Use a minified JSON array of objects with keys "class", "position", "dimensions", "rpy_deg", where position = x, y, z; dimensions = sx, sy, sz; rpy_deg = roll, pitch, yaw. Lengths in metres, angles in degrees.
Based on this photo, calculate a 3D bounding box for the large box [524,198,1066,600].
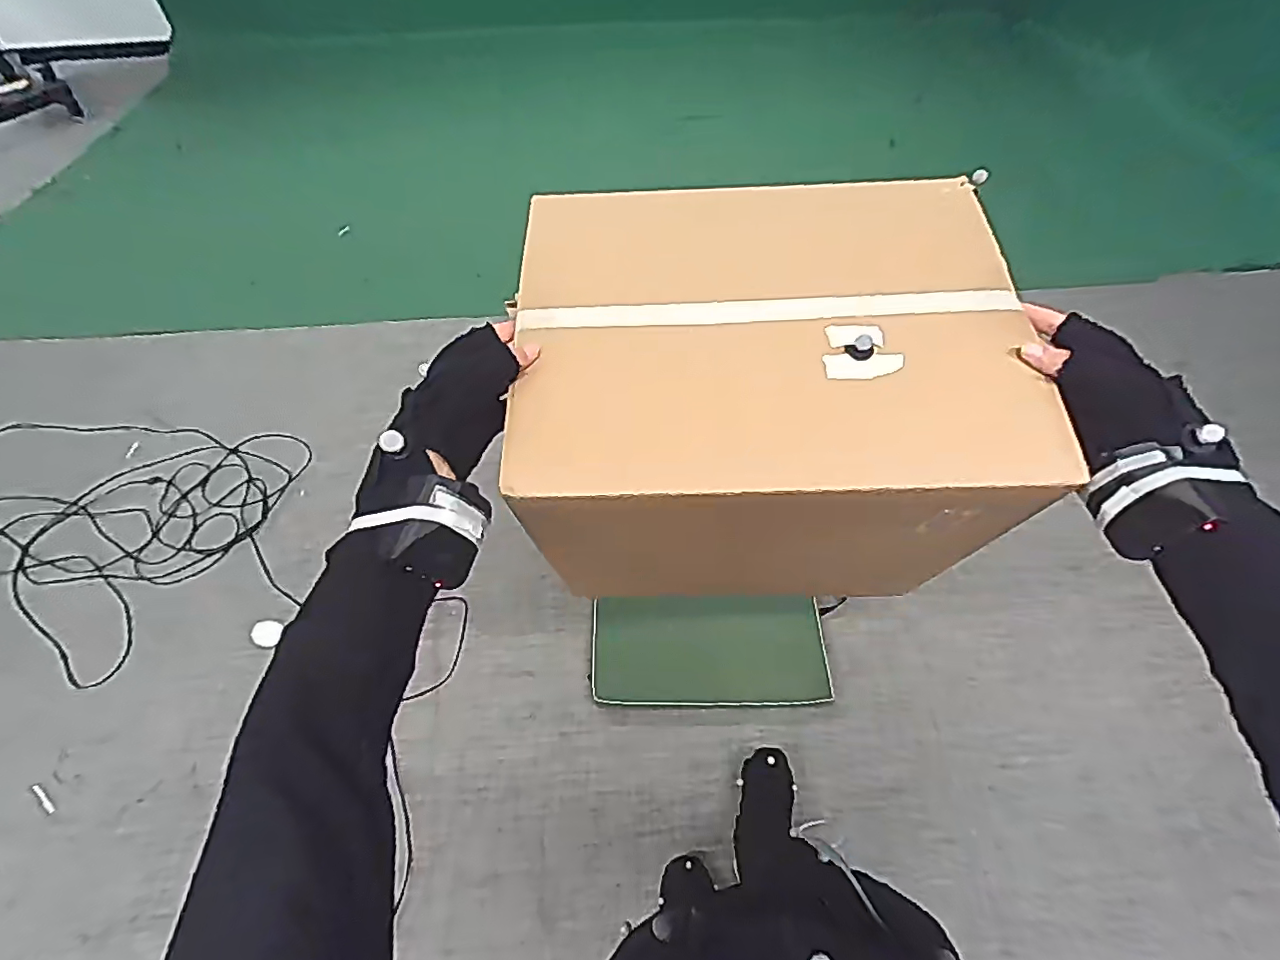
[{"class":"large box","position":[0.110,-0.063,0.589],"dimensions":[0.408,0.320,0.320],"rpy_deg":[-1,65,1]}]
